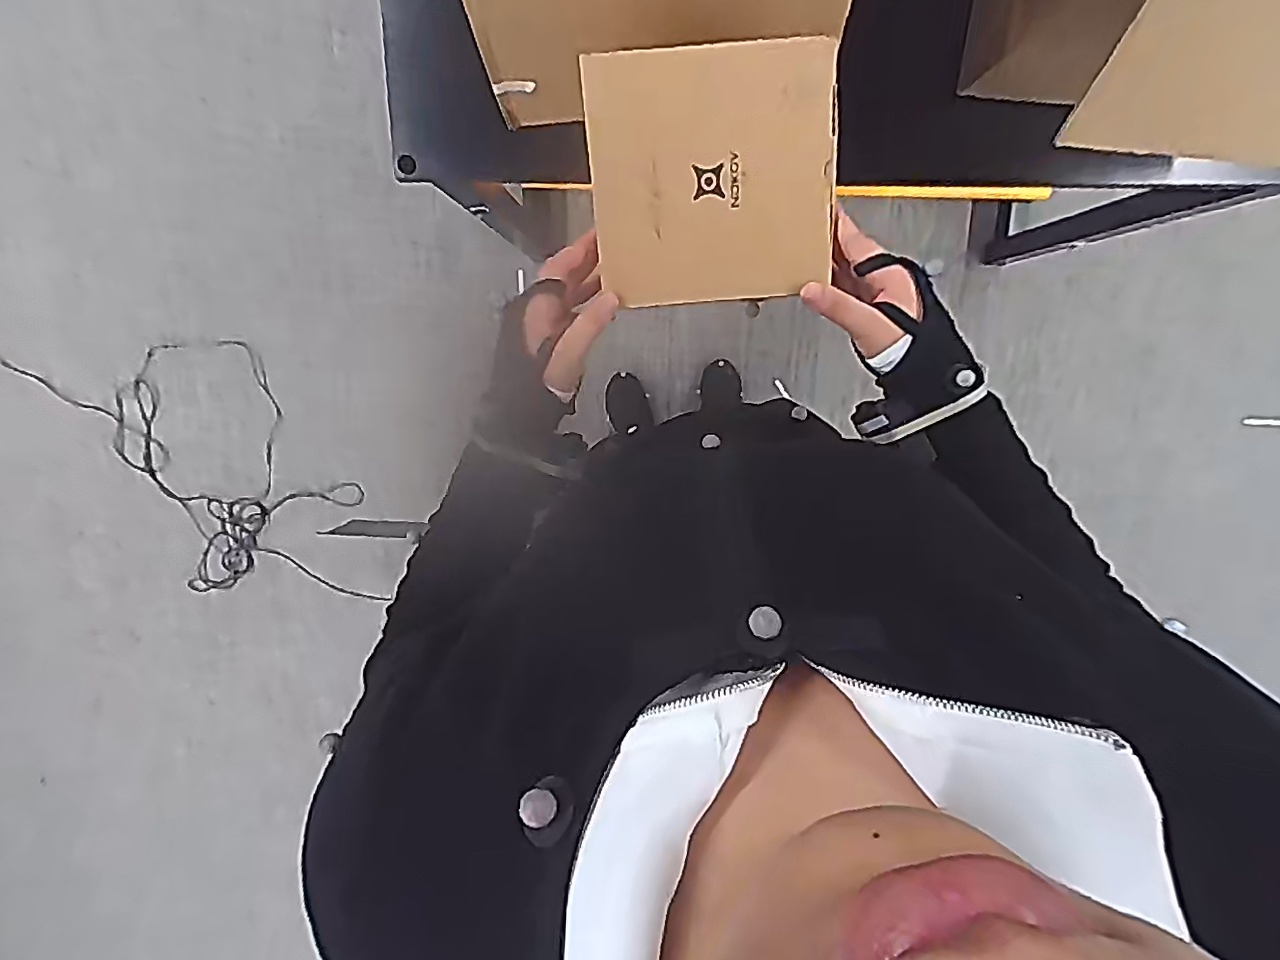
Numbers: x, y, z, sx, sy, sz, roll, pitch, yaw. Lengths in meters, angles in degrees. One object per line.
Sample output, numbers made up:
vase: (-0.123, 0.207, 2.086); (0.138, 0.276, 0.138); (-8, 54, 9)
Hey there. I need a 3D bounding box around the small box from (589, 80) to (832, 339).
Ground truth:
small box: (0.055, -0.220, 0.480); (0.179, 0.176, 0.168); (-6, 106, 1)
